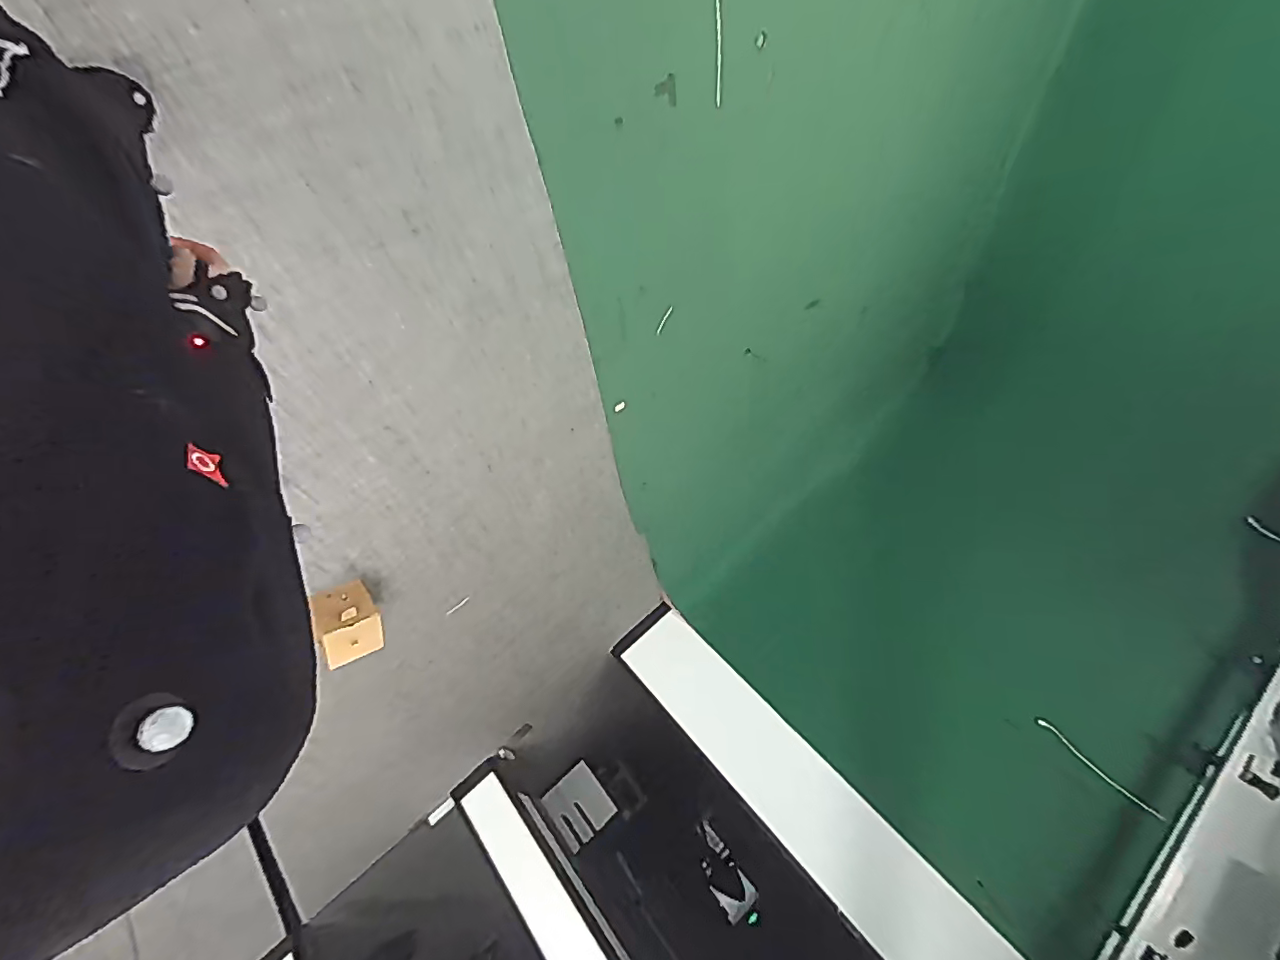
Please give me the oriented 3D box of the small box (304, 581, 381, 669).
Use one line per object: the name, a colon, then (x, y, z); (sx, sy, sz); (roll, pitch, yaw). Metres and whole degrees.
small box: (-0.949, 0.459, 1.726); (0.168, 0.176, 0.179); (-20, 138, -38)
